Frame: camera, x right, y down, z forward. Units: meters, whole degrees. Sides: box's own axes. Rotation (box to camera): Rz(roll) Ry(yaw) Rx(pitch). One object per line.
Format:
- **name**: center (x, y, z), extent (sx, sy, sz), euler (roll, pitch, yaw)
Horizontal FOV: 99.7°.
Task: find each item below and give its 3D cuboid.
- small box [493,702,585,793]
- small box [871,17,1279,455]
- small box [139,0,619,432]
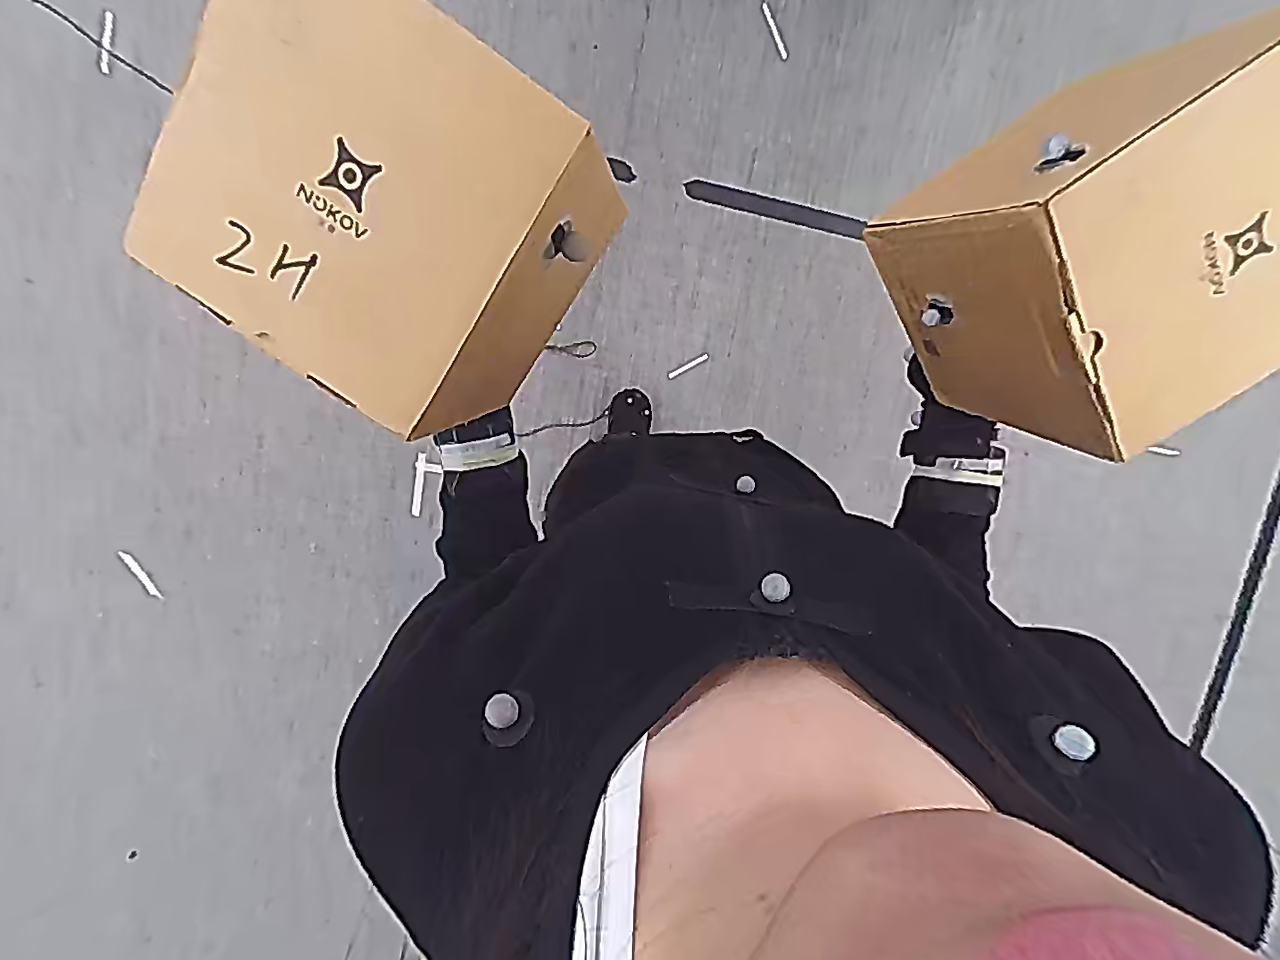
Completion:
- **small box**: center (-0.225, 0.612, 1.170), extent (0.179, 0.176, 0.168), euler (19, 95, -4)
- **small box**: center (0.294, -0.150, 0.355), extent (0.179, 0.176, 0.168), euler (-35, 112, 6)
- **small box**: center (-0.125, -0.157, 0.328), extent (0.168, 0.176, 0.179), euler (35, 105, -4)
